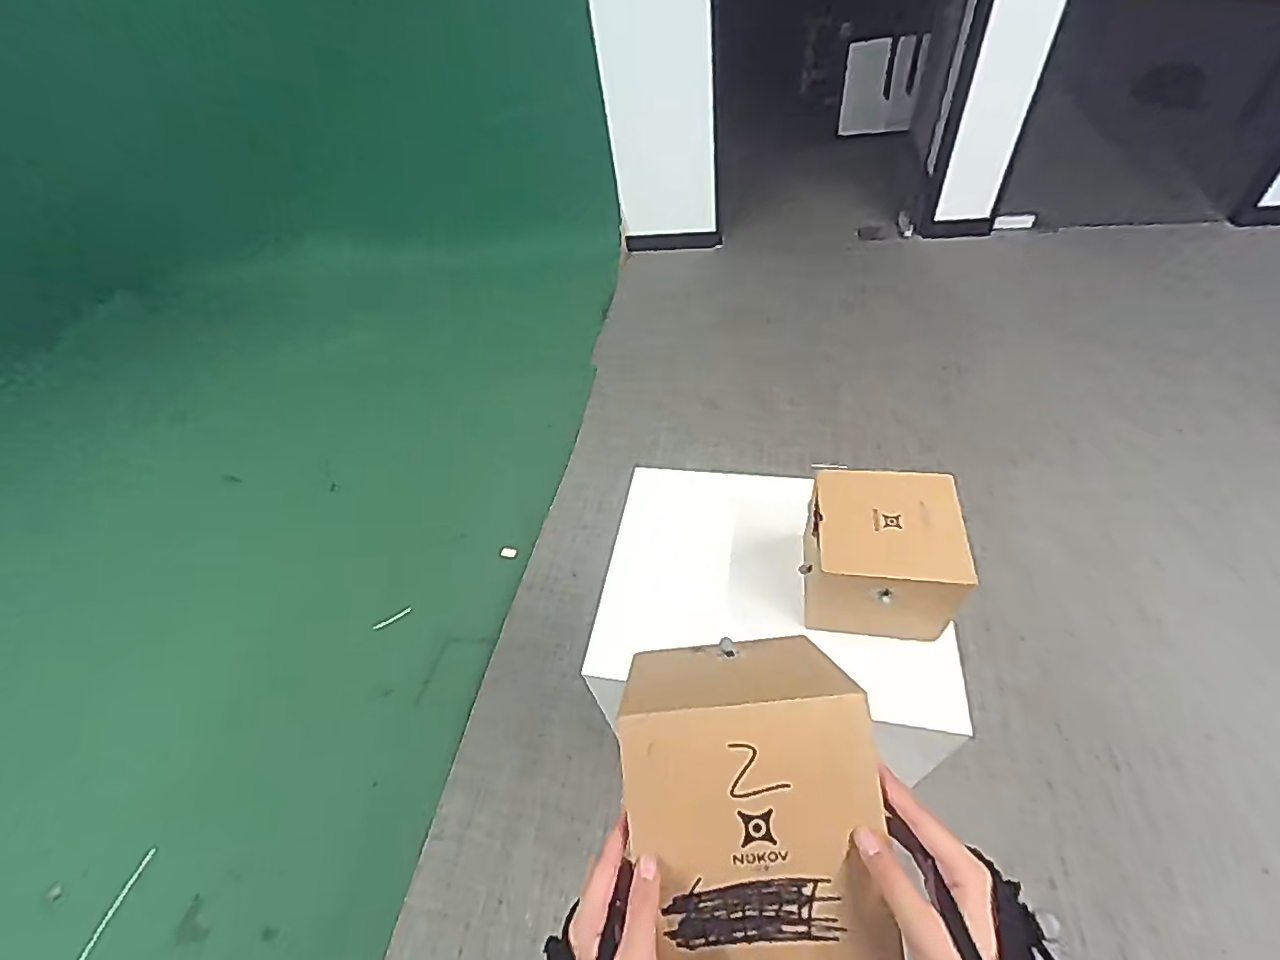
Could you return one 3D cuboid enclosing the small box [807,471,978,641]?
[{"bbox_3d":[0.325,0.106,0.740,0.179,0.176,0.168,3,52,12],"label":"small box"}]
